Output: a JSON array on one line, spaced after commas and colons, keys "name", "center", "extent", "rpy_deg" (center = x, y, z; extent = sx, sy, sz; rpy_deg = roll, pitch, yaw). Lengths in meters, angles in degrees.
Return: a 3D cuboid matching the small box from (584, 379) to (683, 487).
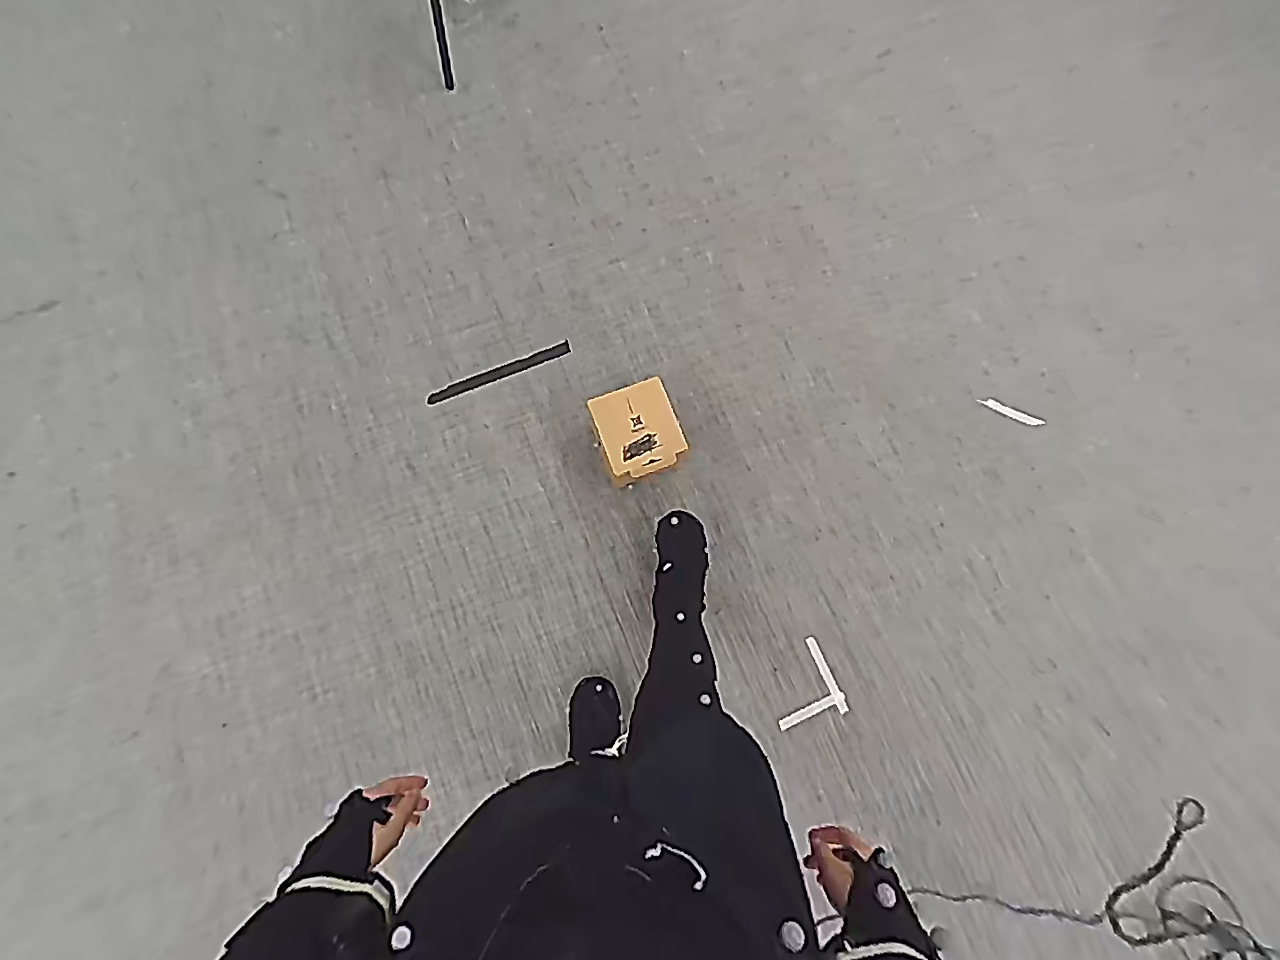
[{"name": "small box", "center": [-0.015, -0.094, 1.198], "extent": [0.168, 0.176, 0.179], "rpy_deg": [-20, 80, -6]}]
